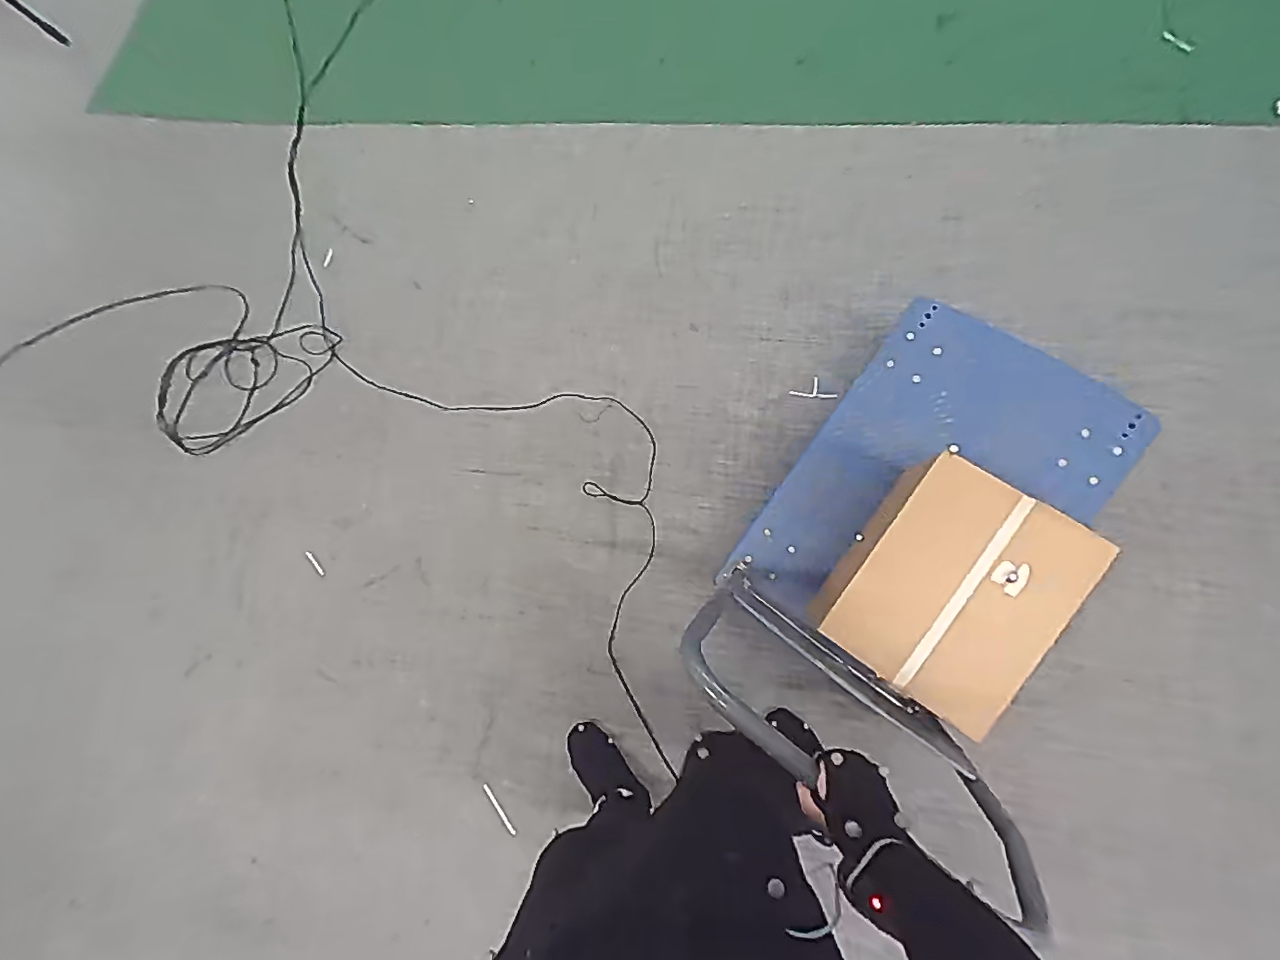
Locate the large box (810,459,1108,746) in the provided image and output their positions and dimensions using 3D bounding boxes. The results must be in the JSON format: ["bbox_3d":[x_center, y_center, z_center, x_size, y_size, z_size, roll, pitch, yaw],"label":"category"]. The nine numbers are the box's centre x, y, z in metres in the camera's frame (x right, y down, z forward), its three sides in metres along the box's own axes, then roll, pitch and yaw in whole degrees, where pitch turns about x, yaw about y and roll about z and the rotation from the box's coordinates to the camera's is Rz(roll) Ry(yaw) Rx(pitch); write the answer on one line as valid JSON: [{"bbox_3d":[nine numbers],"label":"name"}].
[{"bbox_3d":[0.590,0.228,1.091,0.320,0.320,0.408,36,91,15],"label":"large box"}]
